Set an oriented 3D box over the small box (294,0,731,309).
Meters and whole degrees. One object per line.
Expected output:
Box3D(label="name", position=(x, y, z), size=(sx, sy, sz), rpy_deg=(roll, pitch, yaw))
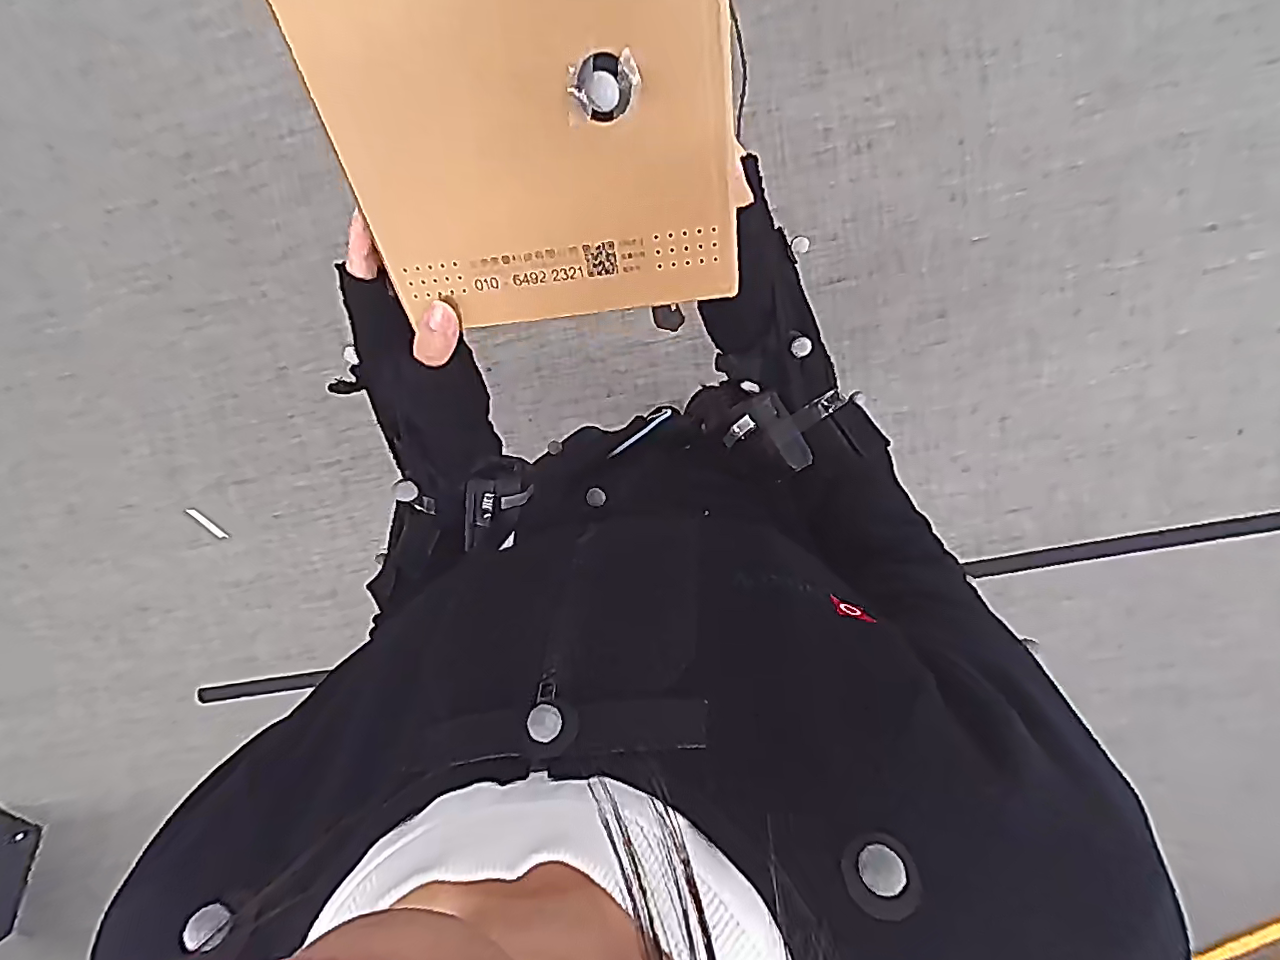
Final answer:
Box3D(label="small box", position=(-0.038, -0.204, 0.298), size=(0.168, 0.179, 0.176), rpy_deg=(-3, 130, 9))
